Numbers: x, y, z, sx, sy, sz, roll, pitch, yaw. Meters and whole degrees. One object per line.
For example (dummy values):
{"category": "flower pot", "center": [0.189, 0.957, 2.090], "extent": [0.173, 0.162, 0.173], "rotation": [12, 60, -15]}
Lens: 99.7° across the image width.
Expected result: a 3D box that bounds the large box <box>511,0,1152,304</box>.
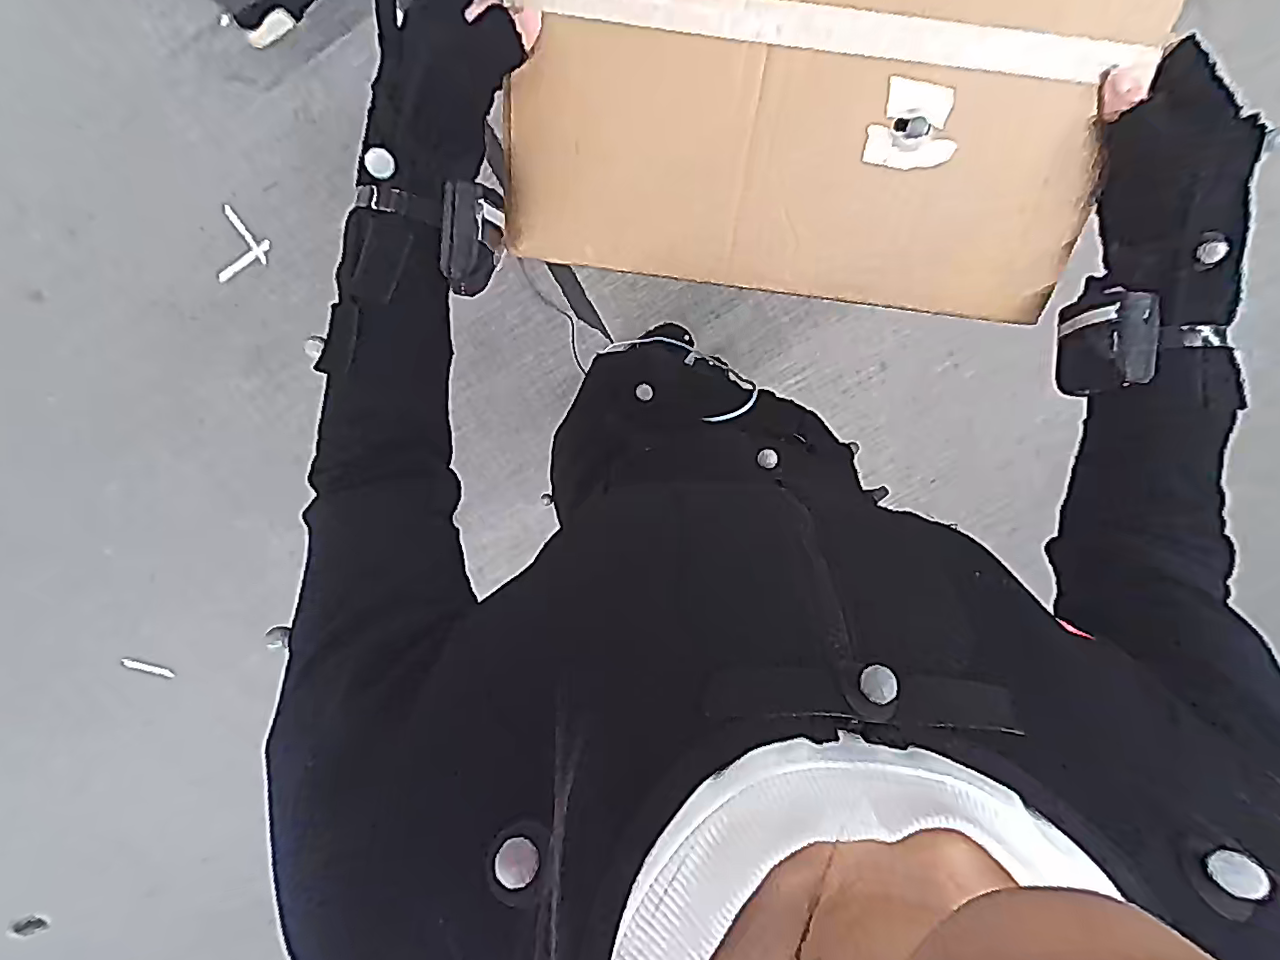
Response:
{"category": "large box", "center": [0.118, -0.357, 0.478], "extent": [0.408, 0.320, 0.320], "rotation": [6, 119, -1]}
